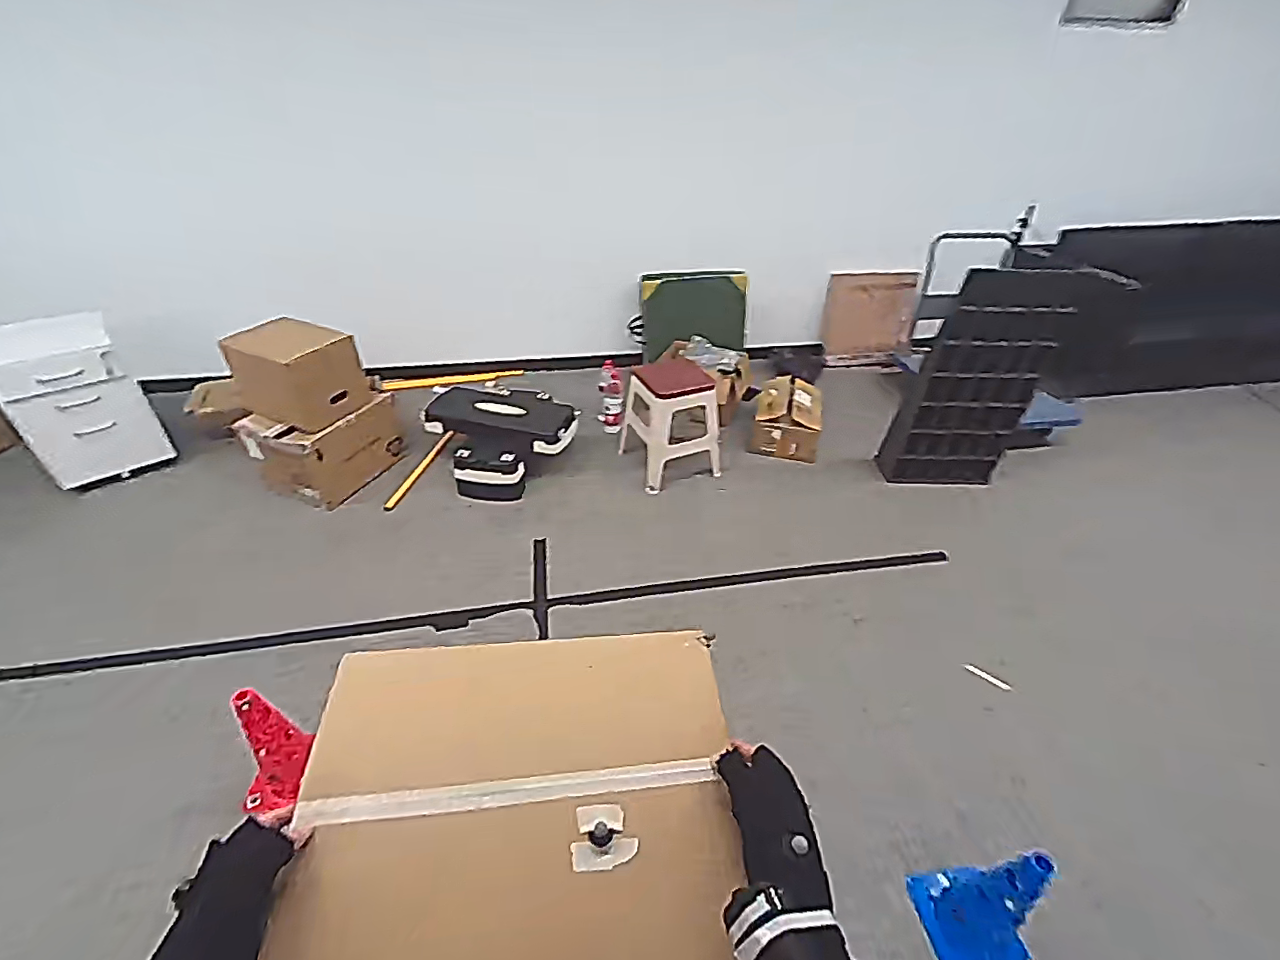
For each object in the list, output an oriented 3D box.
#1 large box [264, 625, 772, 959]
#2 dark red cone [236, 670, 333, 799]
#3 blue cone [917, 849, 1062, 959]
[{"bbox_3d":[-0.118,0.395,0.619,0.408,0.320,0.320,-1,43,-8],"label":"large box"},{"bbox_3d":[-0.893,0.601,1.321,0.201,0.394,0.202,0,37,-4],"label":"dark red cone"},{"bbox_3d":[0.744,0.852,1.109,0.192,0.380,0.193,-2,37,-6],"label":"blue cone"}]
